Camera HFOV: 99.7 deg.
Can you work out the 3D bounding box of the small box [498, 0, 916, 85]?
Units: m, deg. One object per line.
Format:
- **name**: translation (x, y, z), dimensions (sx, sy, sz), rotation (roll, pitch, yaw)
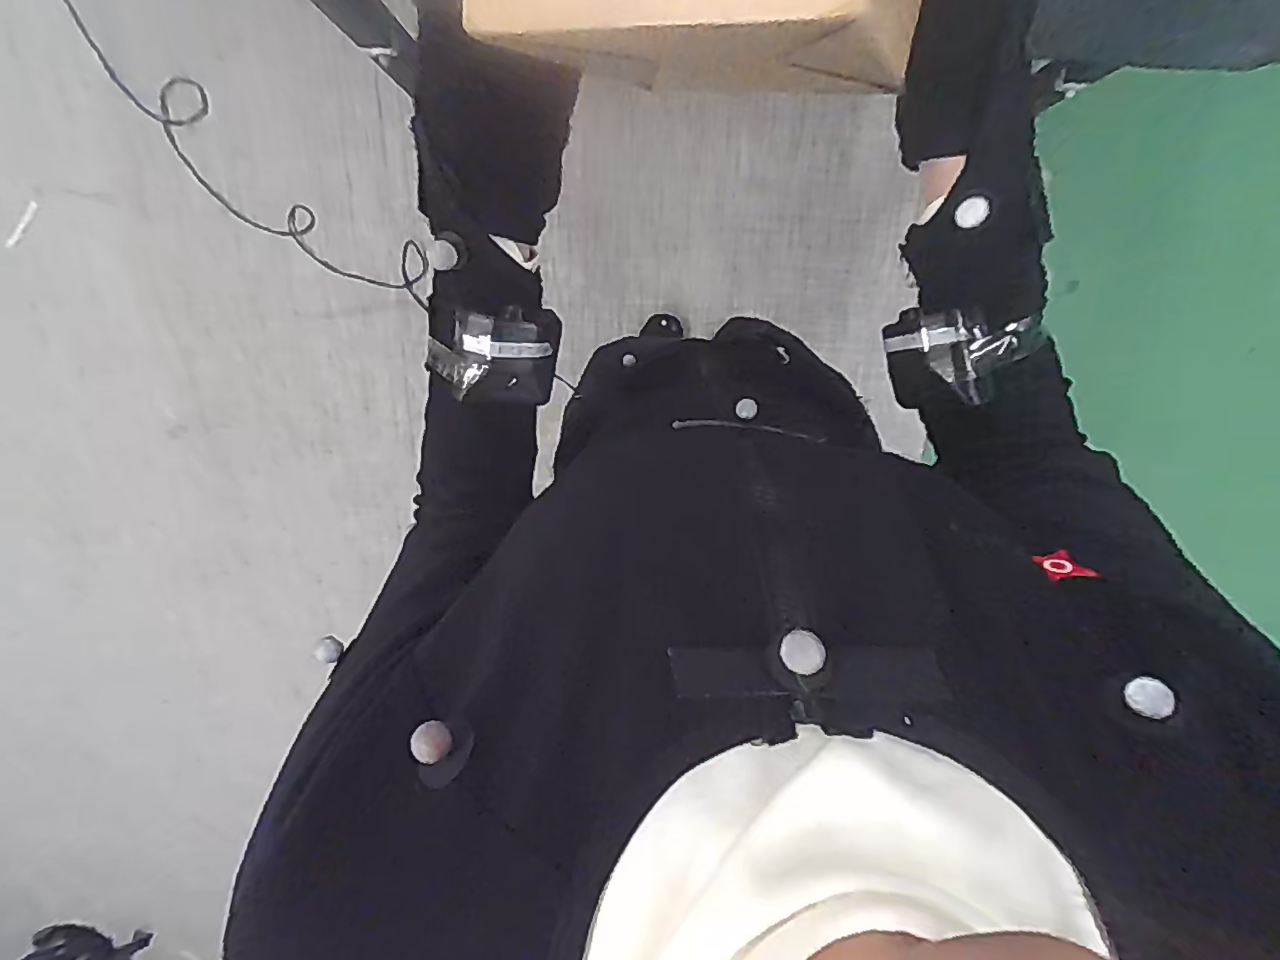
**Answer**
- **small box**: translation (0.043, -0.285, 0.235), dimensions (0.168, 0.179, 0.176), rotation (16, 123, 22)
